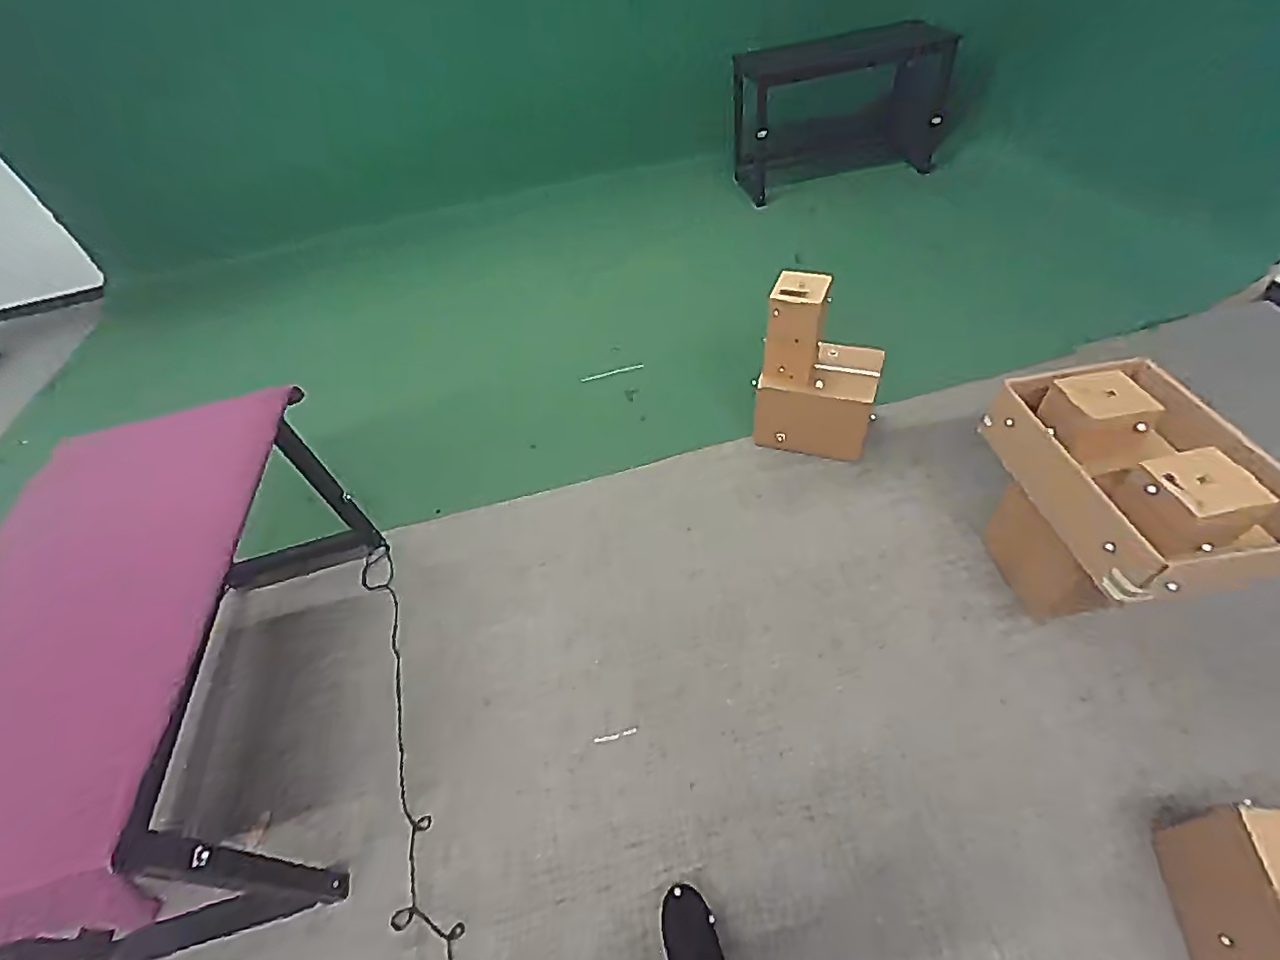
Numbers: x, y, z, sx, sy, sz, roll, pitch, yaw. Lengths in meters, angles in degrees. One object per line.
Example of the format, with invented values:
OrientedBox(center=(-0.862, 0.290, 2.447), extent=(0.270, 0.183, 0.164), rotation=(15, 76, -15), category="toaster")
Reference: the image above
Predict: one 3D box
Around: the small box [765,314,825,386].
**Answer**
OrientedBox(center=(0.556, -0.470, 1.954), extent=(0.168, 0.176, 0.179), rotation=(15, 55, 20), category="small box")

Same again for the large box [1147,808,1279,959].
OrientedBox(center=(1.257, 0.880, 0.981), extent=(0.320, 0.320, 0.408), rotation=(4, 49, 12), category="large box")
